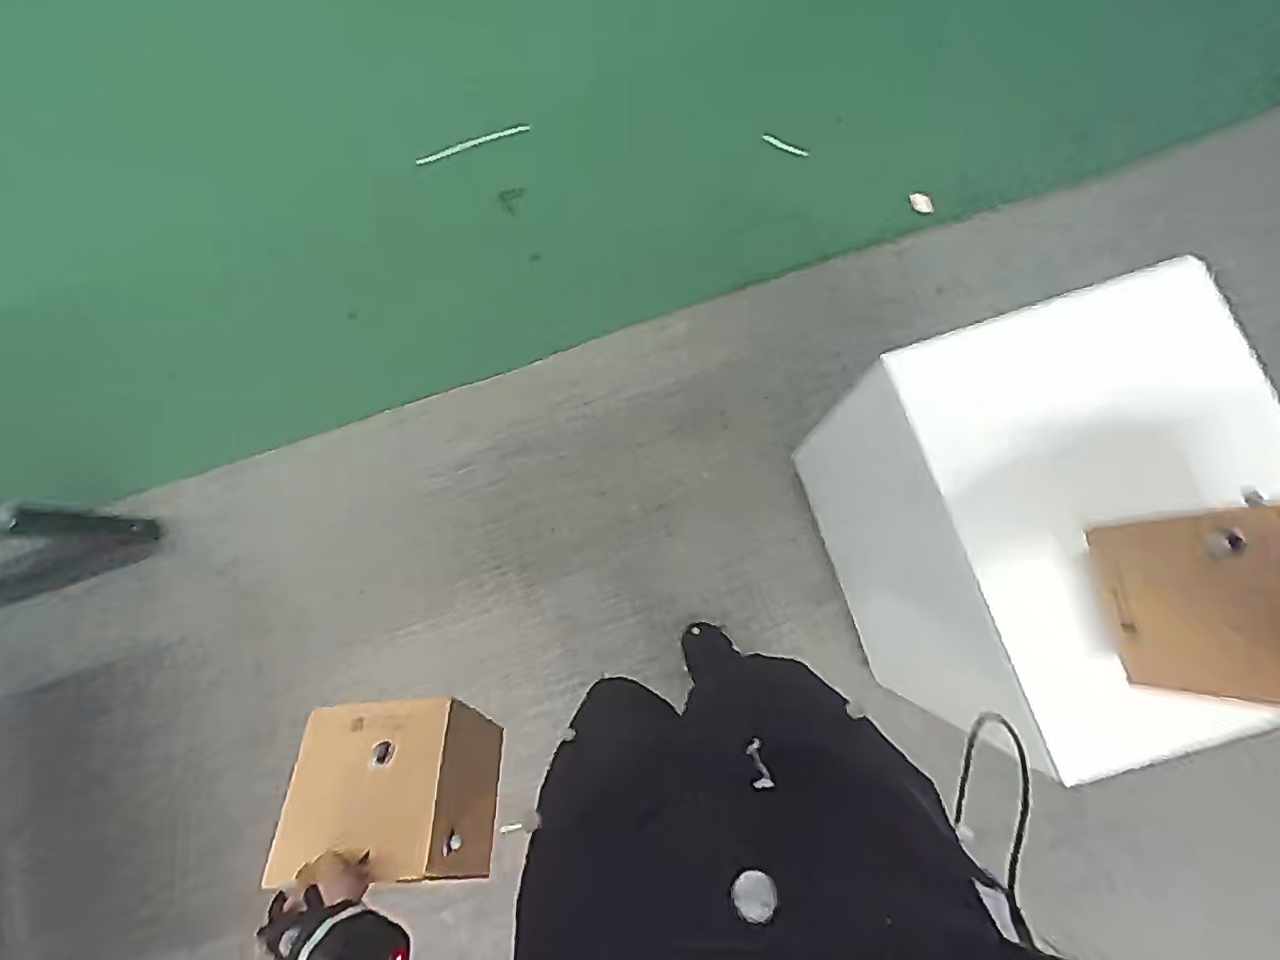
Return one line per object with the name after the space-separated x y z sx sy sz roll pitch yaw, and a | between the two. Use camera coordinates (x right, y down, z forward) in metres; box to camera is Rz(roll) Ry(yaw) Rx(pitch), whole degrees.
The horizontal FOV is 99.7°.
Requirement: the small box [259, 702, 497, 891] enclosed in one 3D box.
-0.275 0.361 0.622 0.168 0.179 0.176 -6 55 5 | small box
